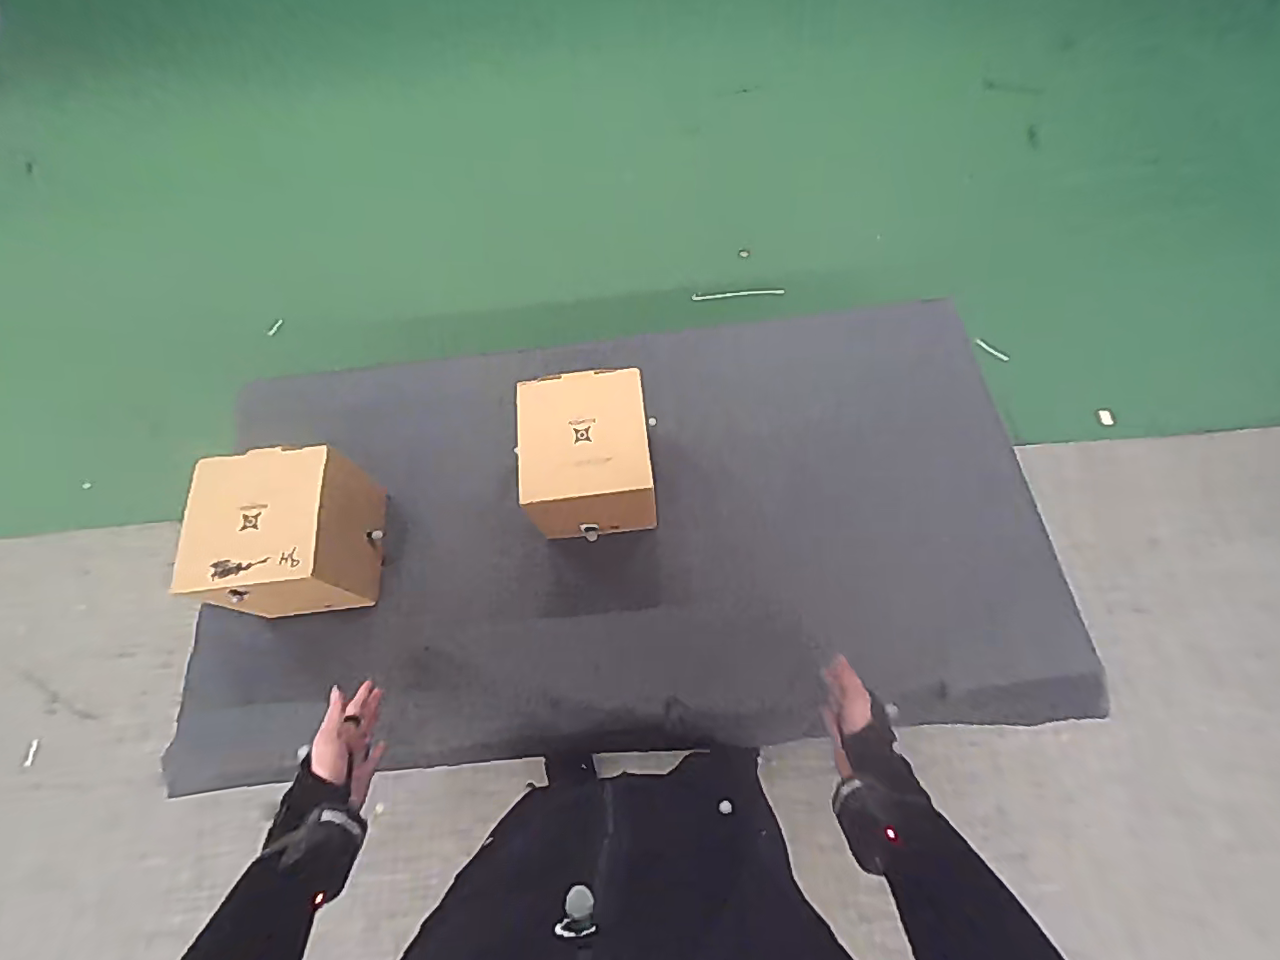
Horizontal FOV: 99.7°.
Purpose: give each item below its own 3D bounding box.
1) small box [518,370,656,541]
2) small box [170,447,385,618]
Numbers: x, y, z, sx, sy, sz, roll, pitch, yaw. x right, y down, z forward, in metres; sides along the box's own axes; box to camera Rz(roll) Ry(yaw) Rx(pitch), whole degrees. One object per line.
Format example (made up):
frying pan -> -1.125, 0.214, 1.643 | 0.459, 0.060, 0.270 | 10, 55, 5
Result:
small box -> -0.069, -0.027, 0.755 | 0.168, 0.176, 0.179 | -8, 69, 0
small box -> -0.463, 0.076, 0.725 | 0.168, 0.176, 0.179 | -7, 67, 0
